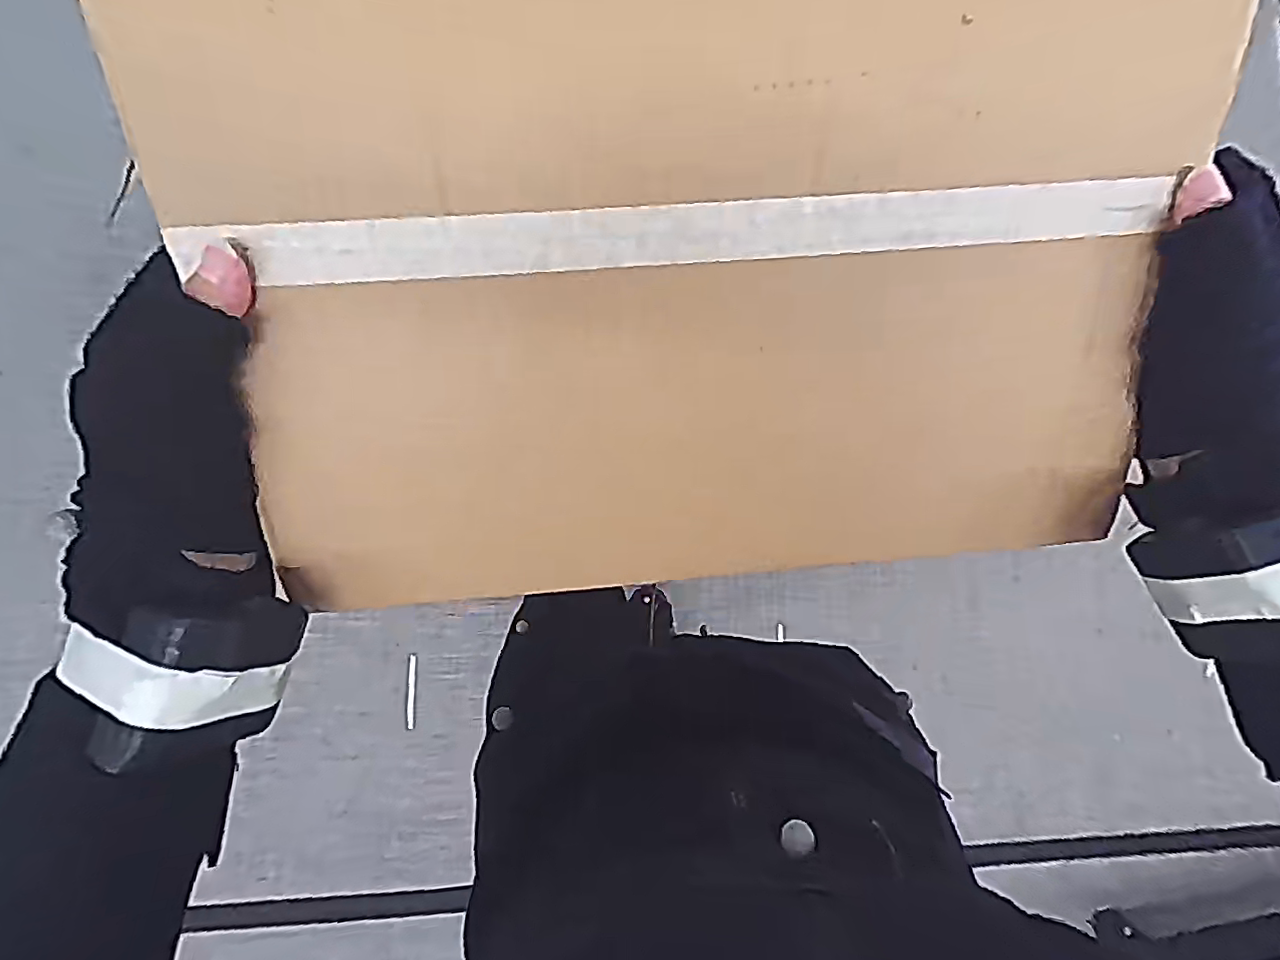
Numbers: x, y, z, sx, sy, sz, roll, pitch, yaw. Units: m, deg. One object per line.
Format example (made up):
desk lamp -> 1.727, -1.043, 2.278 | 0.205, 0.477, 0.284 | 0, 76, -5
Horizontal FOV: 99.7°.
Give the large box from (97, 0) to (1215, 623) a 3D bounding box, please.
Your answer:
large box -> 0.013, -0.145, 0.362 | 0.408, 0.320, 0.320 | -6, 111, -4
